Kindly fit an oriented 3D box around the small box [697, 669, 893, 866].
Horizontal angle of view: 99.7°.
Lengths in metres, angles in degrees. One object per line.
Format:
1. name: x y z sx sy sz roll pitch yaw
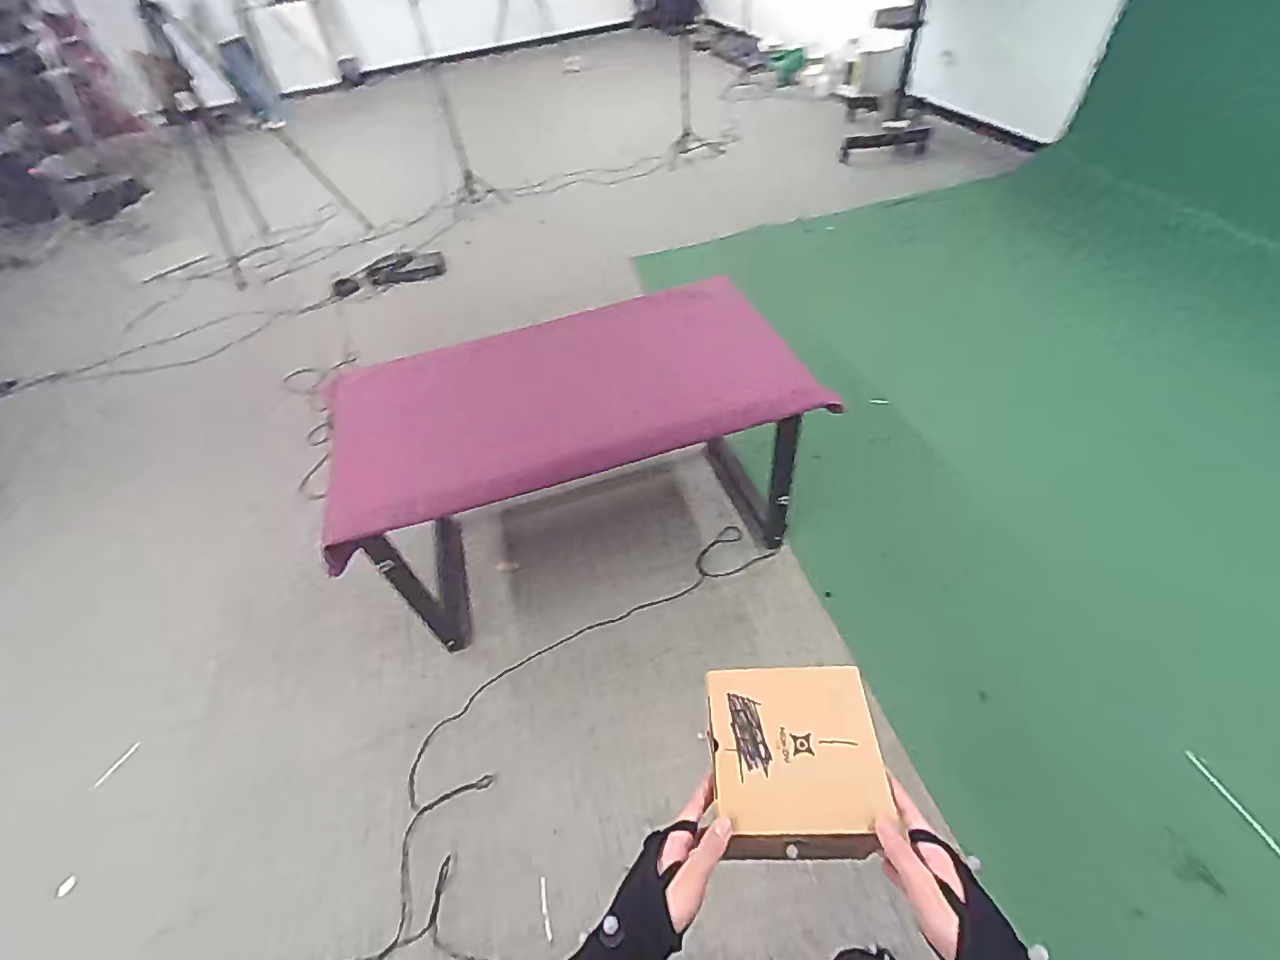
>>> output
1. small box: 0.160 0.334 0.623 0.179 0.176 0.168 -4 48 3
